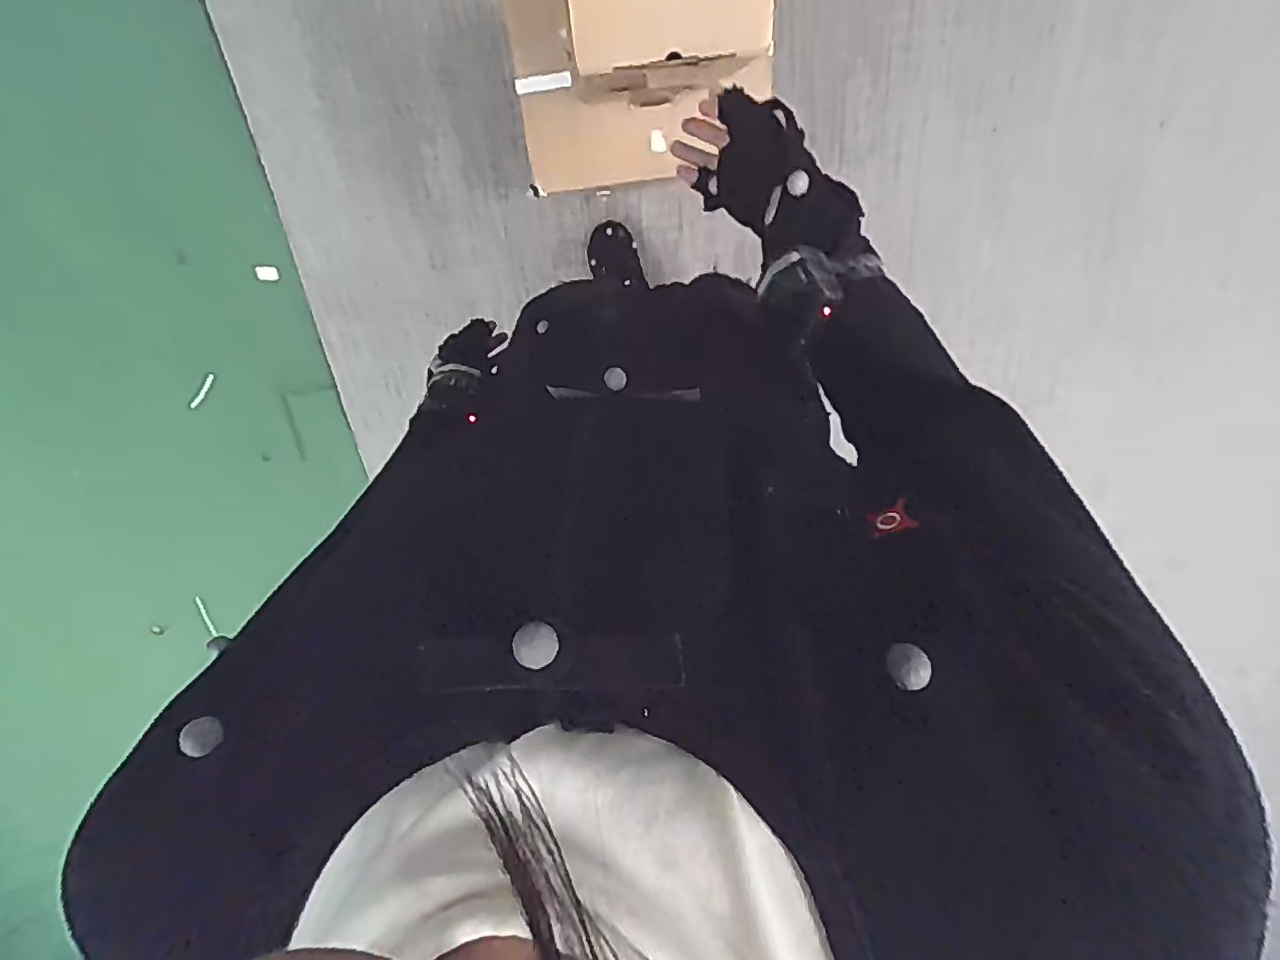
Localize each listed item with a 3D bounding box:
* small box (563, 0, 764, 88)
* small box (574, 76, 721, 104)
[{"bbox_3d":[0.015,-0.465,0.483,0.168,0.176,0.179,-6,123,2],"label":"small box"},{"bbox_3d":[0.000,-0.549,0.624,0.168,0.176,0.179,-7,121,2],"label":"small box"}]
